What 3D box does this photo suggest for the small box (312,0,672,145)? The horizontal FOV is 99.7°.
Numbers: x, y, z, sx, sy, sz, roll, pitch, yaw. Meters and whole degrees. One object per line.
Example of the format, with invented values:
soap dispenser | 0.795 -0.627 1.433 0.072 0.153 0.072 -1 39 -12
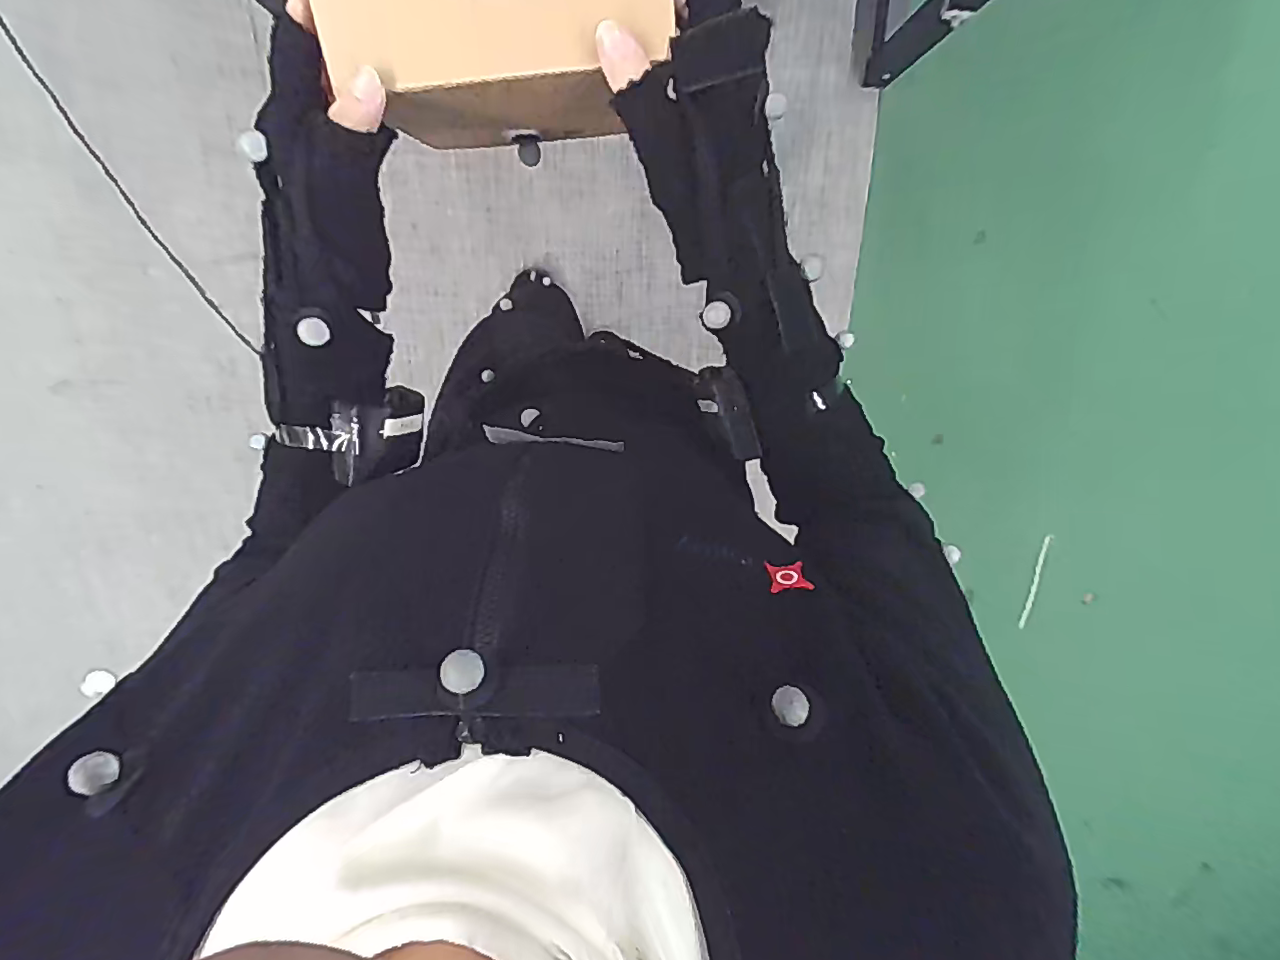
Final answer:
small box | -0.075 -0.307 0.298 0.168 0.176 0.179 -5 113 1
